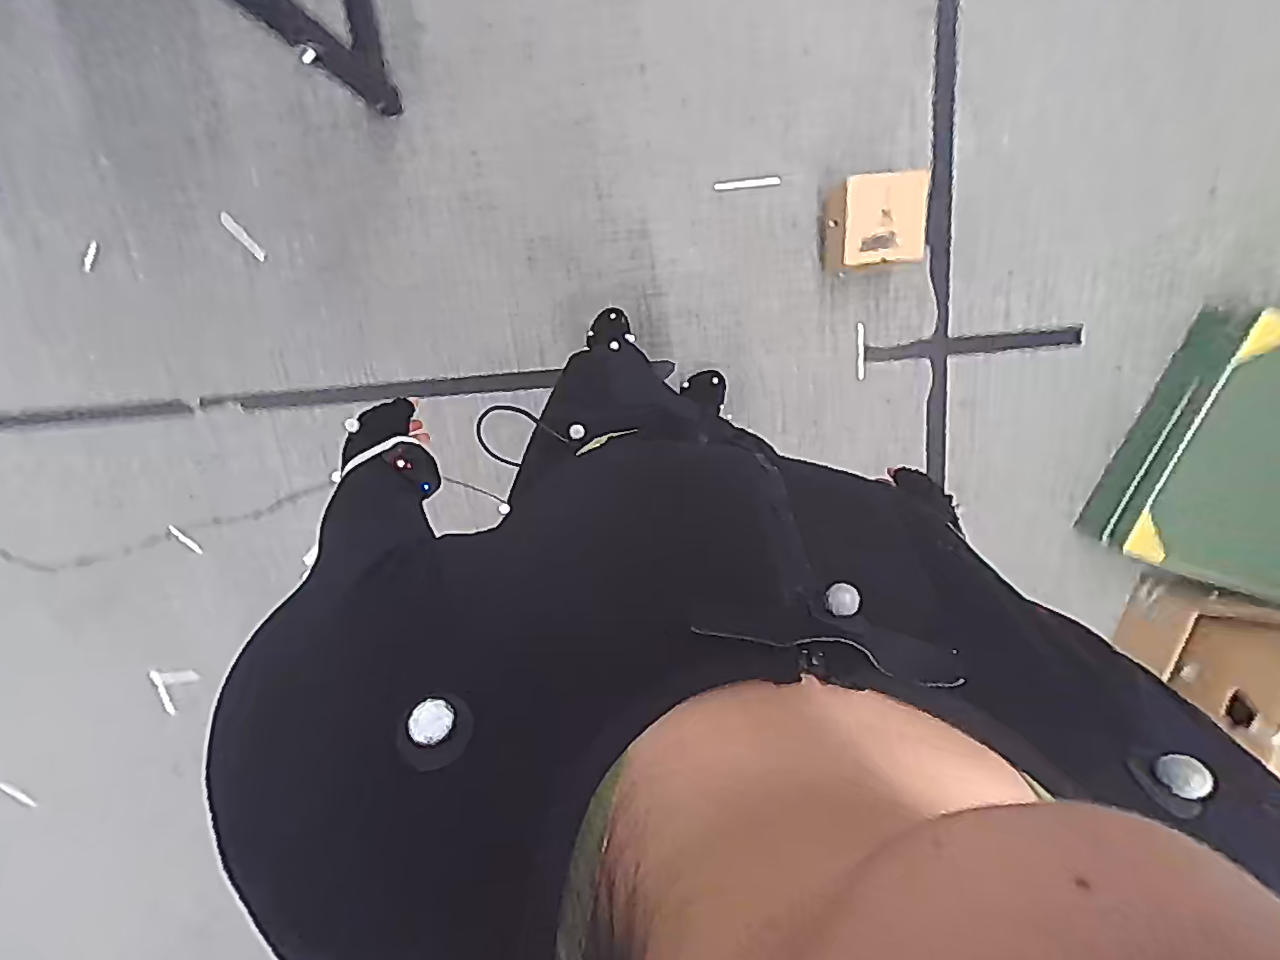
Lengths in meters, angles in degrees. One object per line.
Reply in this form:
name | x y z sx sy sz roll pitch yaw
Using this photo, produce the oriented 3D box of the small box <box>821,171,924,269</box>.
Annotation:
small box | 0.517 -0.579 1.228 0.168 0.176 0.179 -2 105 3
